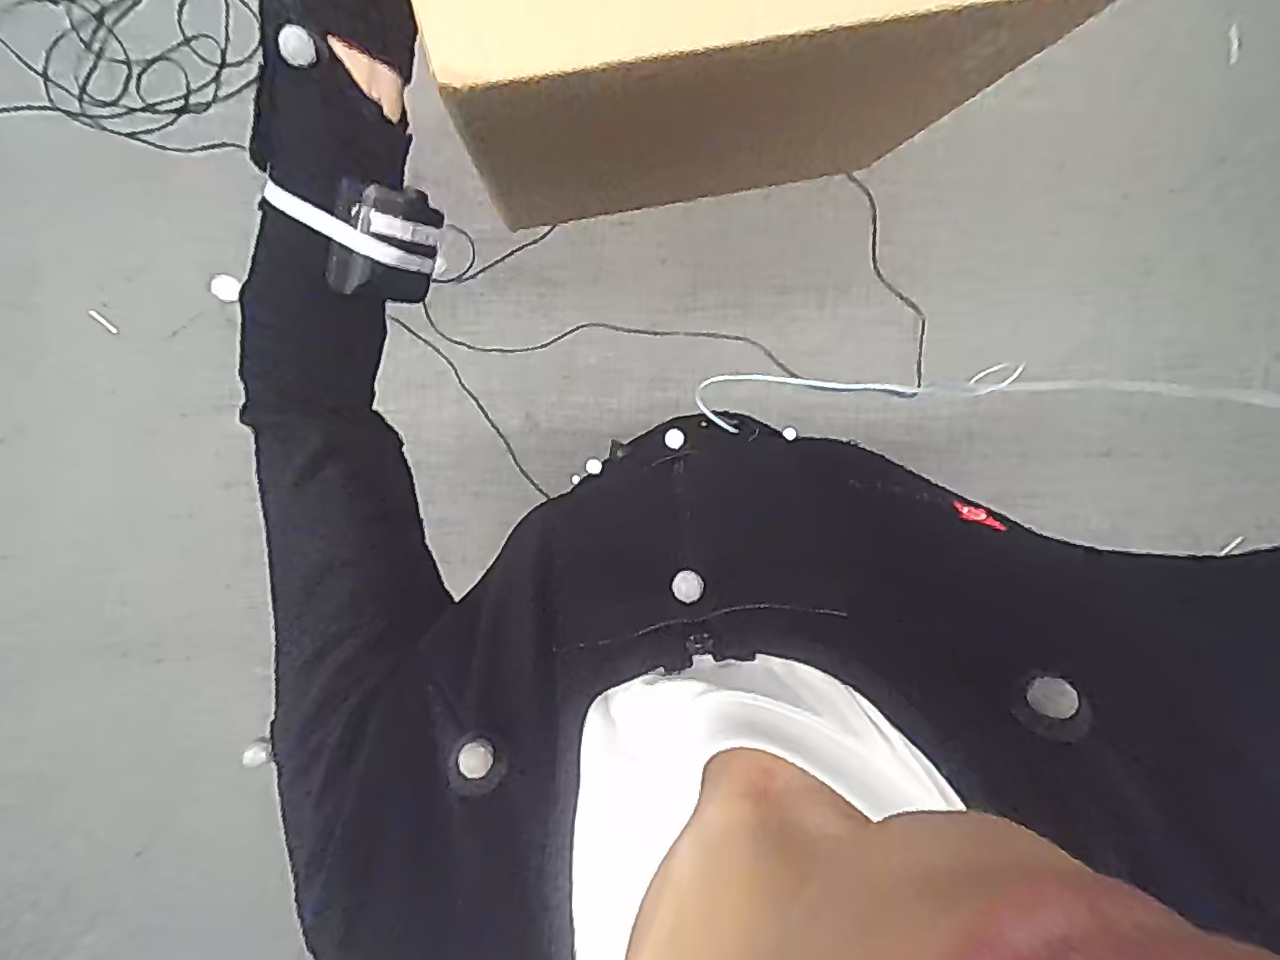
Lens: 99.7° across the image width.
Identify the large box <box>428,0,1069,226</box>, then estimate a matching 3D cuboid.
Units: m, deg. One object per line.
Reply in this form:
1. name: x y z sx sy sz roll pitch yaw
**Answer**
1. large box: 0.040 -0.425 0.407 0.408 0.320 0.320 -13 103 -5
